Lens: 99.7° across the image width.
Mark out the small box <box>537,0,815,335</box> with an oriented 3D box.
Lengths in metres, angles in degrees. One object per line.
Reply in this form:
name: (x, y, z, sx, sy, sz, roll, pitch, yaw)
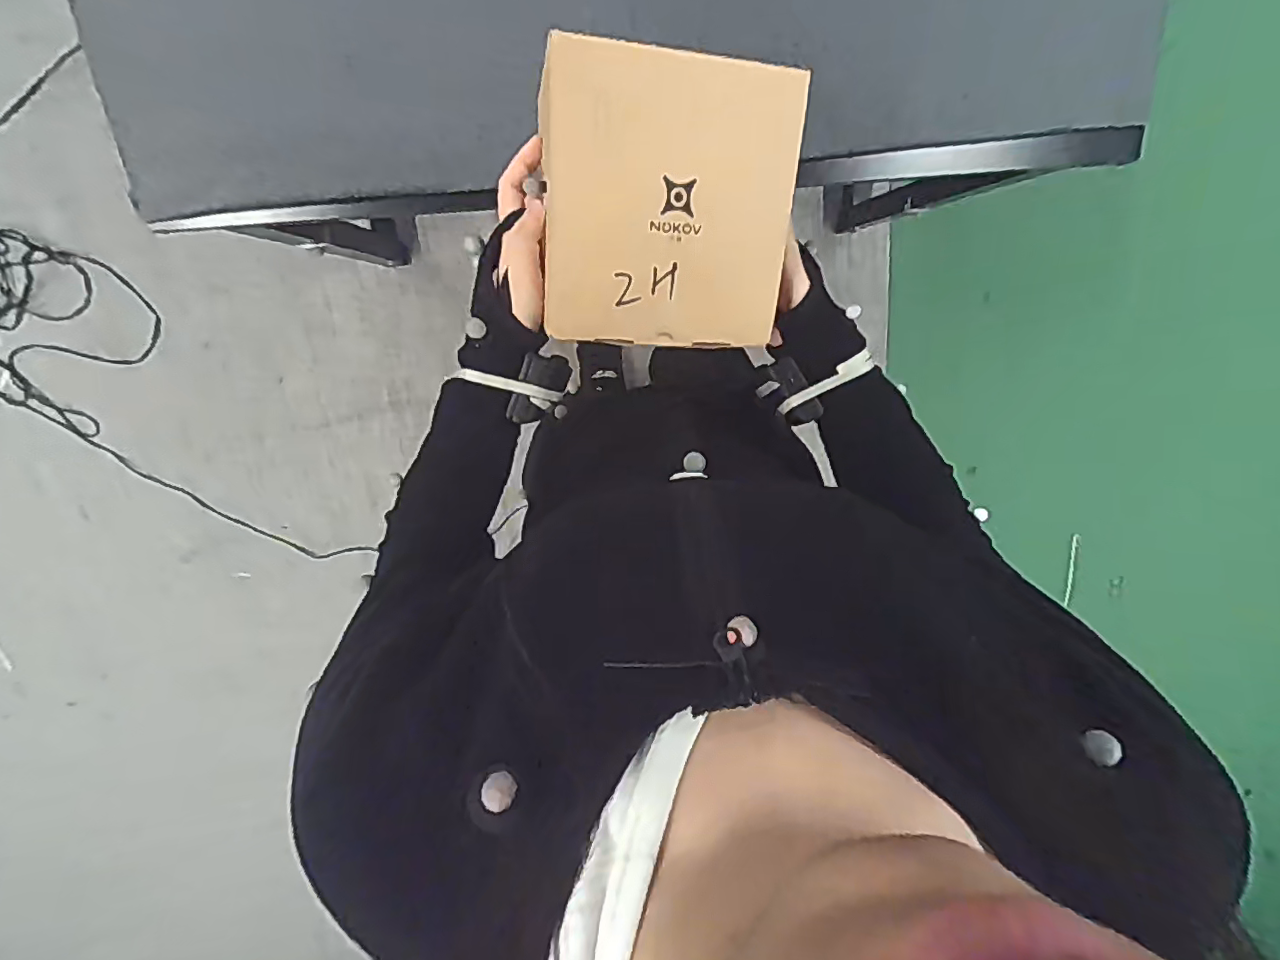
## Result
small box: (0.007, -0.212, 0.415, 0.168, 0.176, 0.179, 0, 110, -12)
